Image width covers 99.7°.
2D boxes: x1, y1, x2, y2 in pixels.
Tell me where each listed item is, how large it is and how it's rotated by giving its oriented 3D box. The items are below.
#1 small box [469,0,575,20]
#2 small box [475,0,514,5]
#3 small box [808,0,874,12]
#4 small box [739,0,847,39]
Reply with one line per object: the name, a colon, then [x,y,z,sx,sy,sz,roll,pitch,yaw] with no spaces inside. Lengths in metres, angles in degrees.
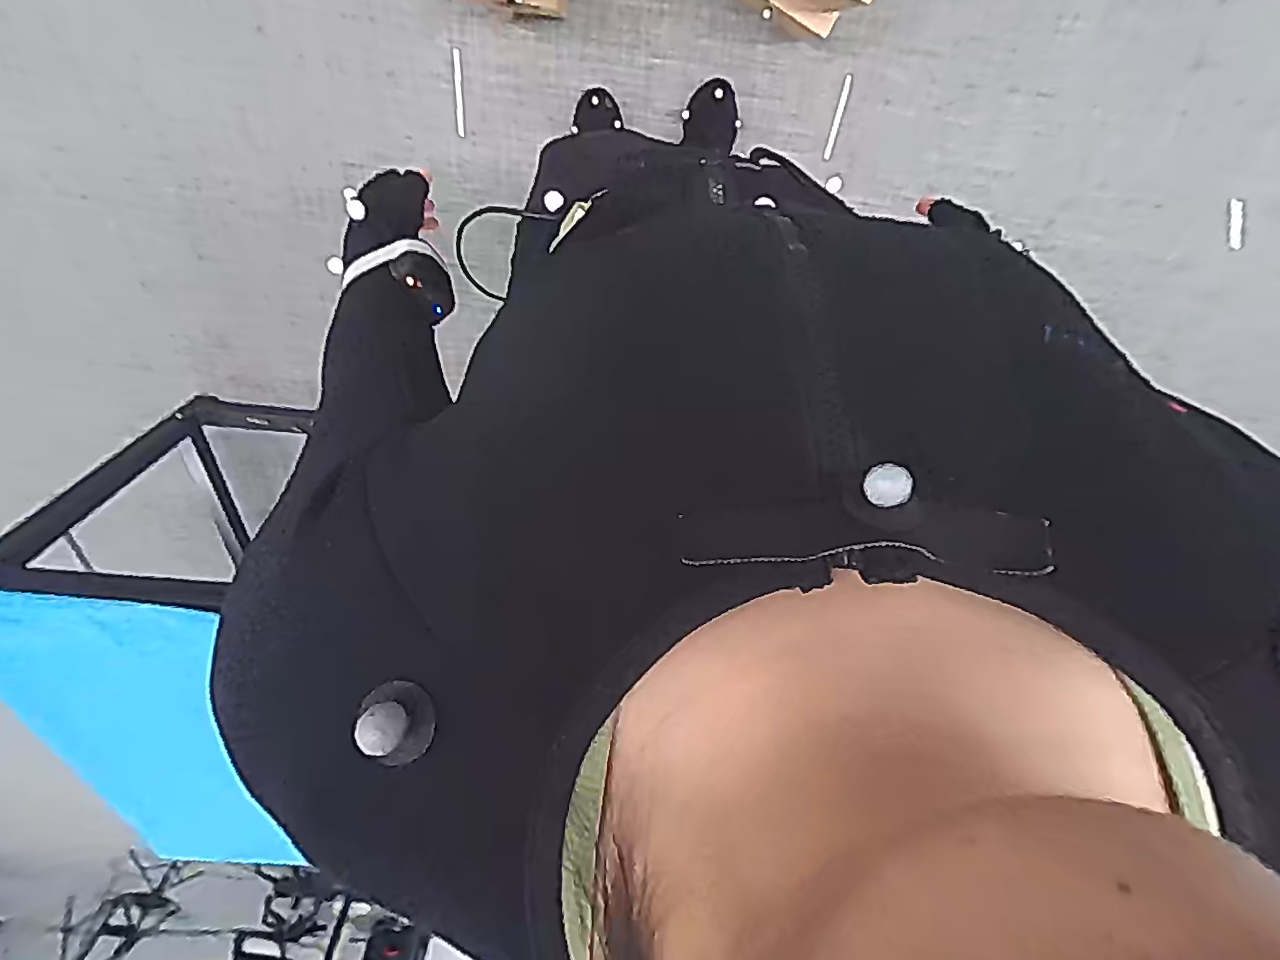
small box: [-0.203,-0.927,0.941,0.168,0.176,0.179,4,126,-2]
small box: [-0.208,-0.837,0.803,0.168,0.176,0.179,-5,129,6]
small box: [0.290,-0.833,0.803,0.179,0.176,0.168,16,126,-13]
small box: [0.290,-0.910,0.951,0.179,0.176,0.168,18,125,-14]
